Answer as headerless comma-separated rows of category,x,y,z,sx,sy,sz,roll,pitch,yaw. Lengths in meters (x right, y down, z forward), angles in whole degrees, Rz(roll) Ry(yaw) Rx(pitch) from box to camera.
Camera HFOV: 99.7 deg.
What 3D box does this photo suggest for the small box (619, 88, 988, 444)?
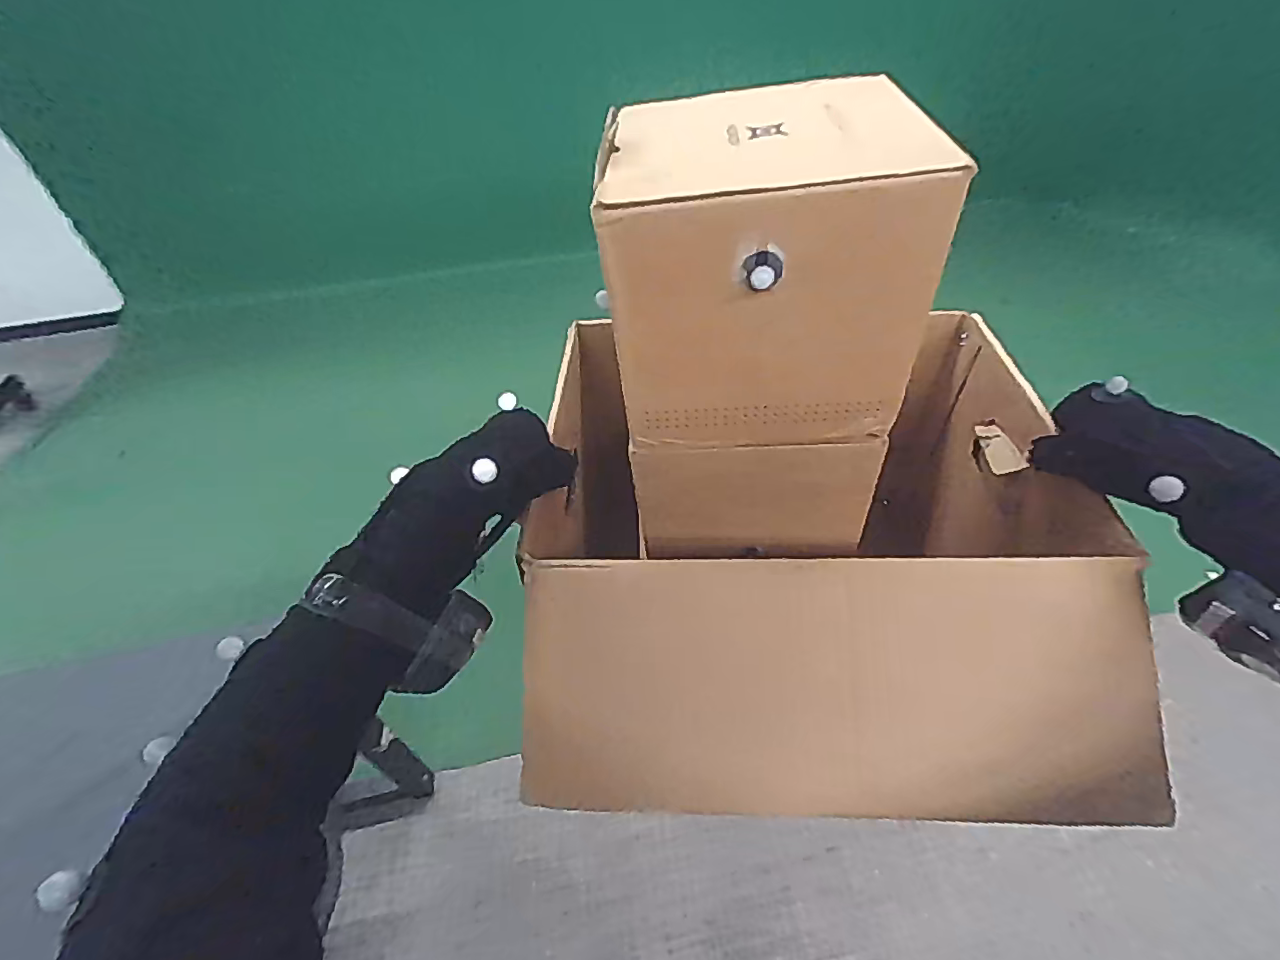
small box,0.088,-0.138,0.368,0.179,0.176,0.168,-2,49,6
